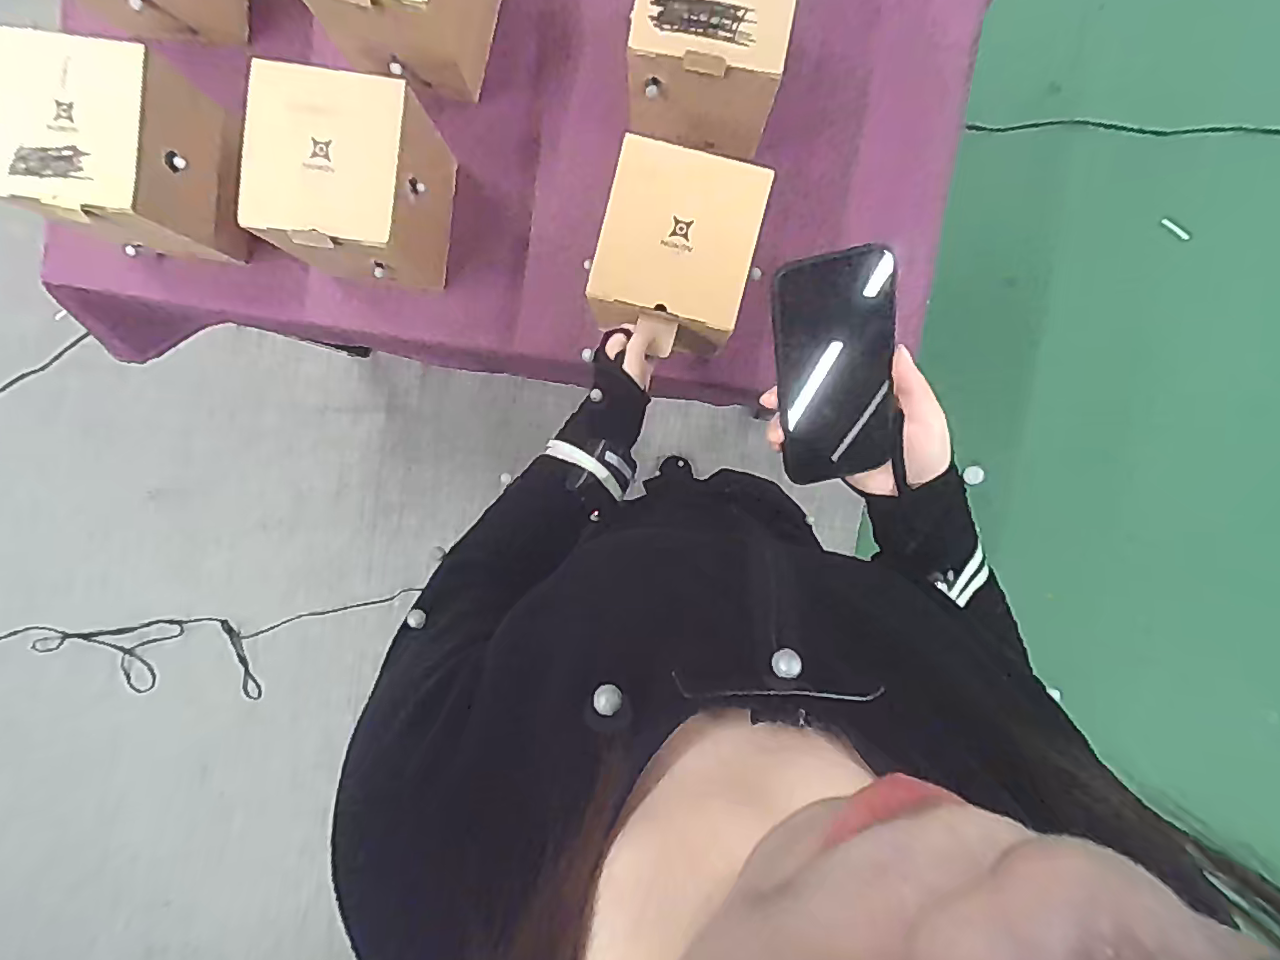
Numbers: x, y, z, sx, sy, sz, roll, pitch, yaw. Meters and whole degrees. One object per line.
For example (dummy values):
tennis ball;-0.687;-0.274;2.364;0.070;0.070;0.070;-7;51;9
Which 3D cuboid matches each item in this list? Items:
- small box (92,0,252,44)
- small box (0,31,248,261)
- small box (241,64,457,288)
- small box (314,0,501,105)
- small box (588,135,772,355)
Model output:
small box;-0.595;-0.664;0.639;0.168;0.176;0.179;4;95;0
small box;-0.609;-0.386;0.658;0.168;0.176;0.179;7;93;0
small box;-0.337;-0.350;0.658;0.168;0.176;0.179;9;93;0
small box;-0.275;-0.598;0.638;0.168;0.176;0.179;15;94;0
small box;0.042;-0.267;0.656;0.168;0.176;0.179;14;94;0
